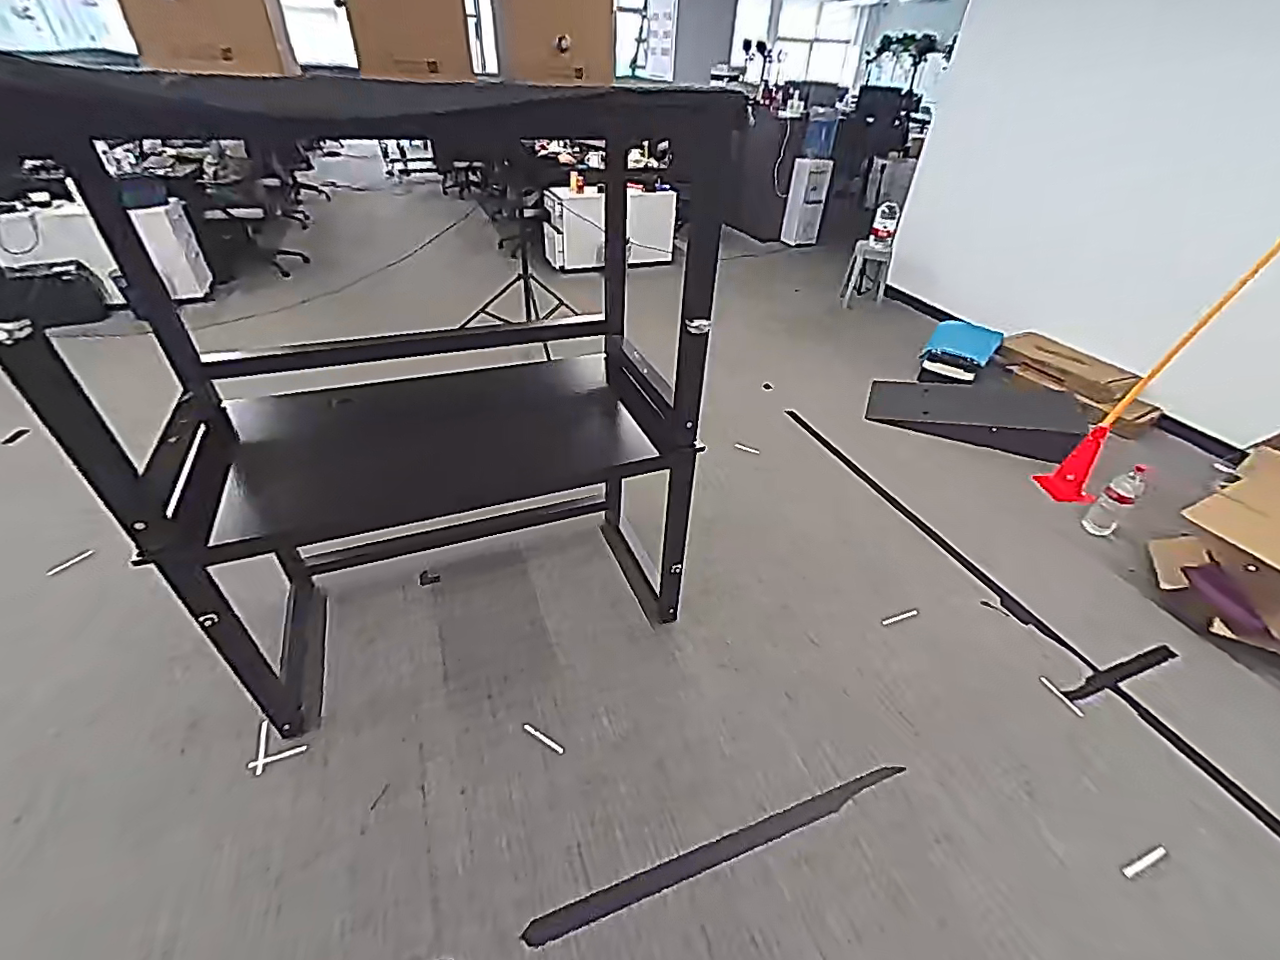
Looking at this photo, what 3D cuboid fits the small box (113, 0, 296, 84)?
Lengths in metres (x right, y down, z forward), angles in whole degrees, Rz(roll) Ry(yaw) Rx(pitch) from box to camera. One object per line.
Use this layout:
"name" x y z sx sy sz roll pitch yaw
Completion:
"small box" -0.606 -0.658 0.752 0.168 0.176 0.179 -10 38 -17

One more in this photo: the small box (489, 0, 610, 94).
"small box" -0.152 -0.744 0.887 0.168 0.176 0.179 -12 40 -17
